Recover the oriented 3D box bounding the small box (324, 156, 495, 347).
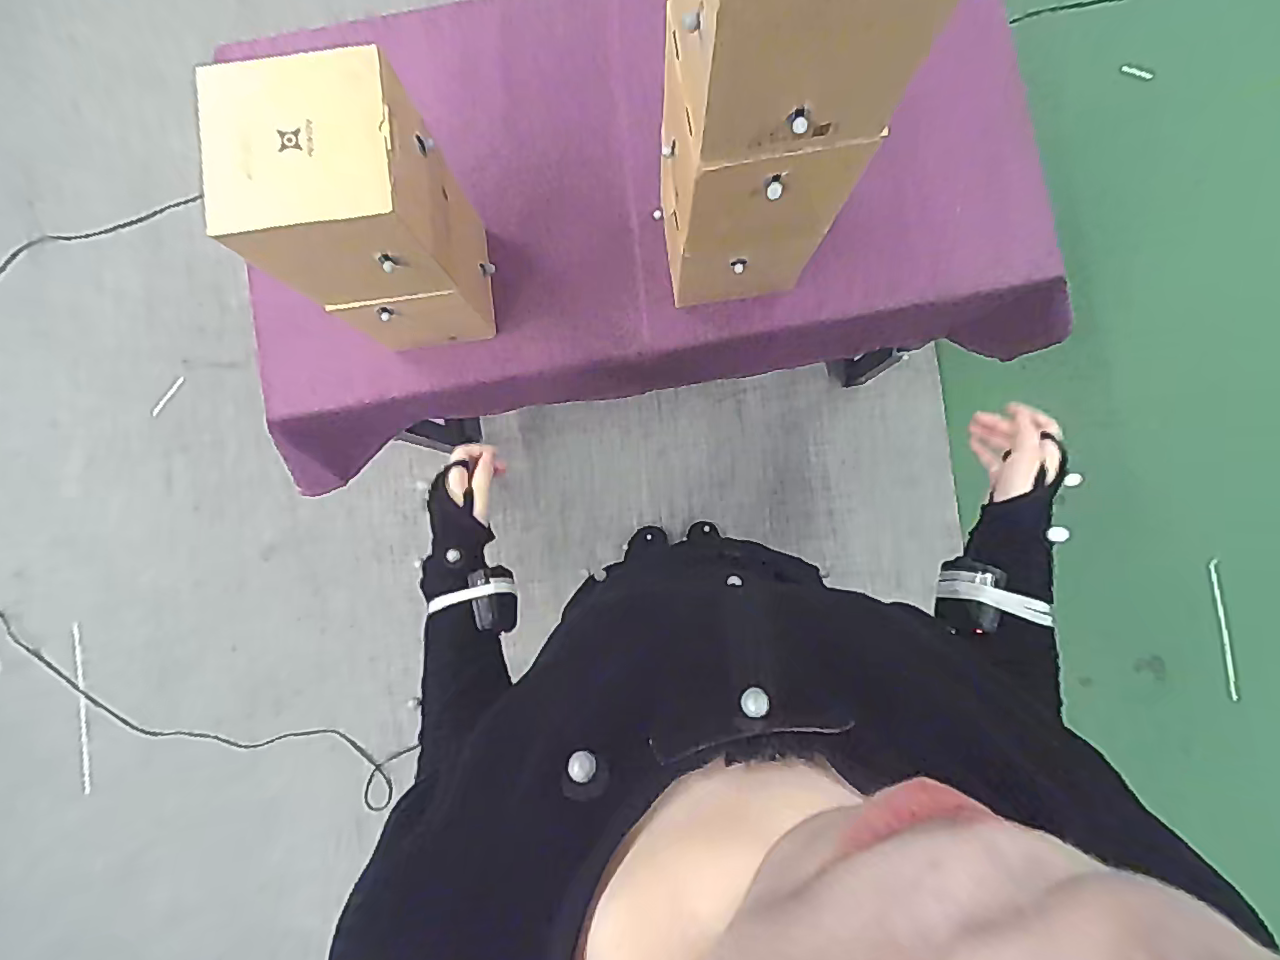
[{"bbox_3d":[-0.308,-0.300,0.739,0.168,0.176,0.179,-7,86,2],"label":"small box"}]

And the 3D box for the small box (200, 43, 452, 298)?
[{"bbox_3d":[-0.312,-0.310,0.575,0.179,0.176,0.168,-6,86,2],"label":"small box"}]

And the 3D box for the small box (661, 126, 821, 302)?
[{"bbox_3d":[0.124,-0.357,0.730,0.179,0.176,0.168,-8,87,1],"label":"small box"}]

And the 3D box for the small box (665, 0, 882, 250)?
[{"bbox_3d":[0.123,-0.367,0.567,0.179,0.176,0.168,-9,87,2],"label":"small box"}]
